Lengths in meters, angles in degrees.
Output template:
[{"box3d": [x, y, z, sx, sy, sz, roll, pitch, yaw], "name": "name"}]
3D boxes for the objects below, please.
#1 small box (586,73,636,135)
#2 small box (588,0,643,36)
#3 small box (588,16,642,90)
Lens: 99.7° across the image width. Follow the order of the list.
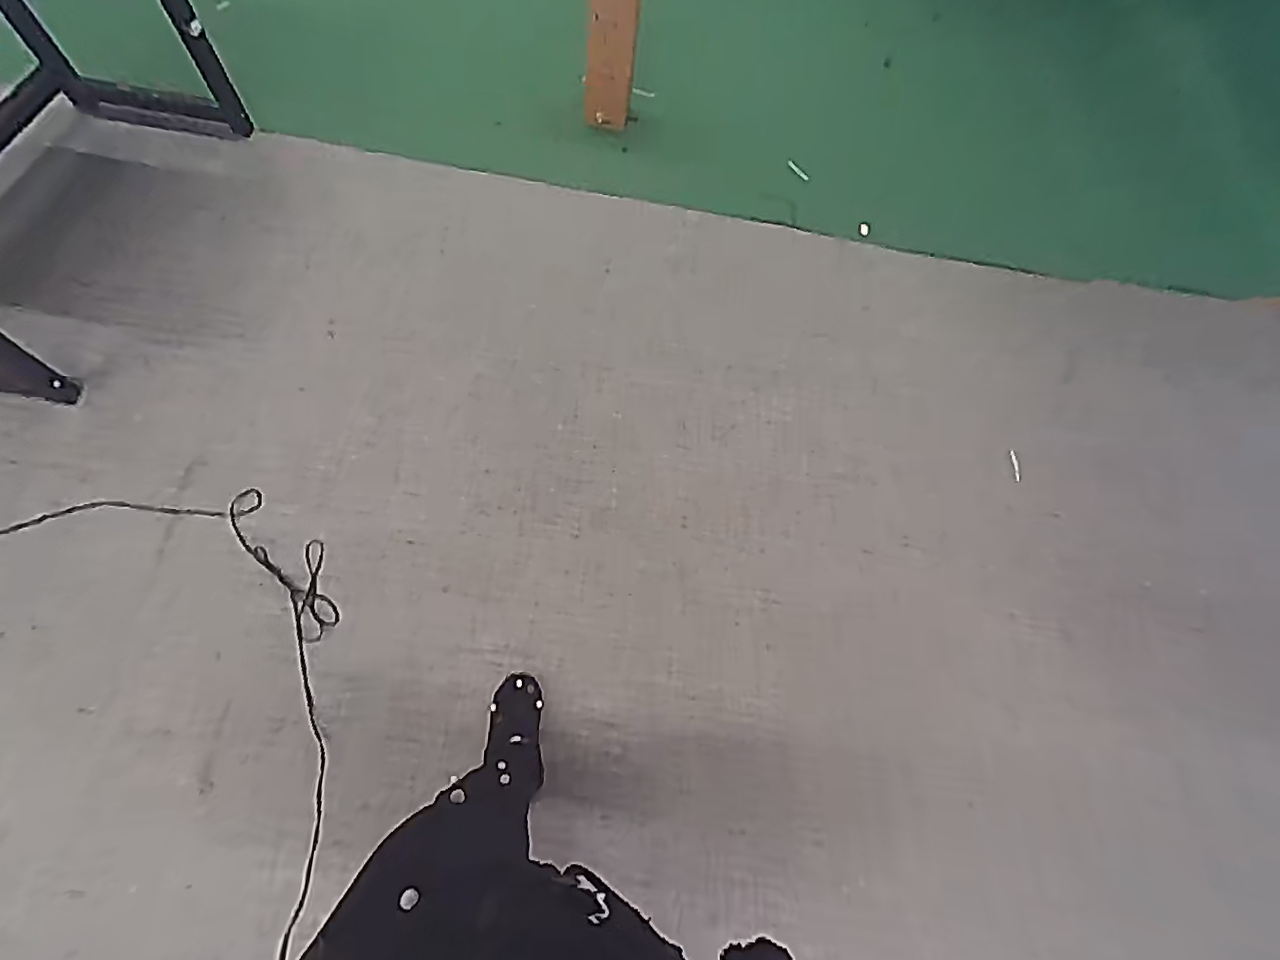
[{"box3d": [-0.116, -1.496, 2.112, 0.168, 0.176, 0.179, 10, 66, -2], "name": "small box"}, {"box3d": [-0.079, -1.645, 1.822, 0.168, 0.176, 0.179, 11, 63, -2], "name": "small box"}, {"box3d": [-0.094, -1.569, 1.967, 0.168, 0.176, 0.179, 11, 63, -1], "name": "small box"}]
